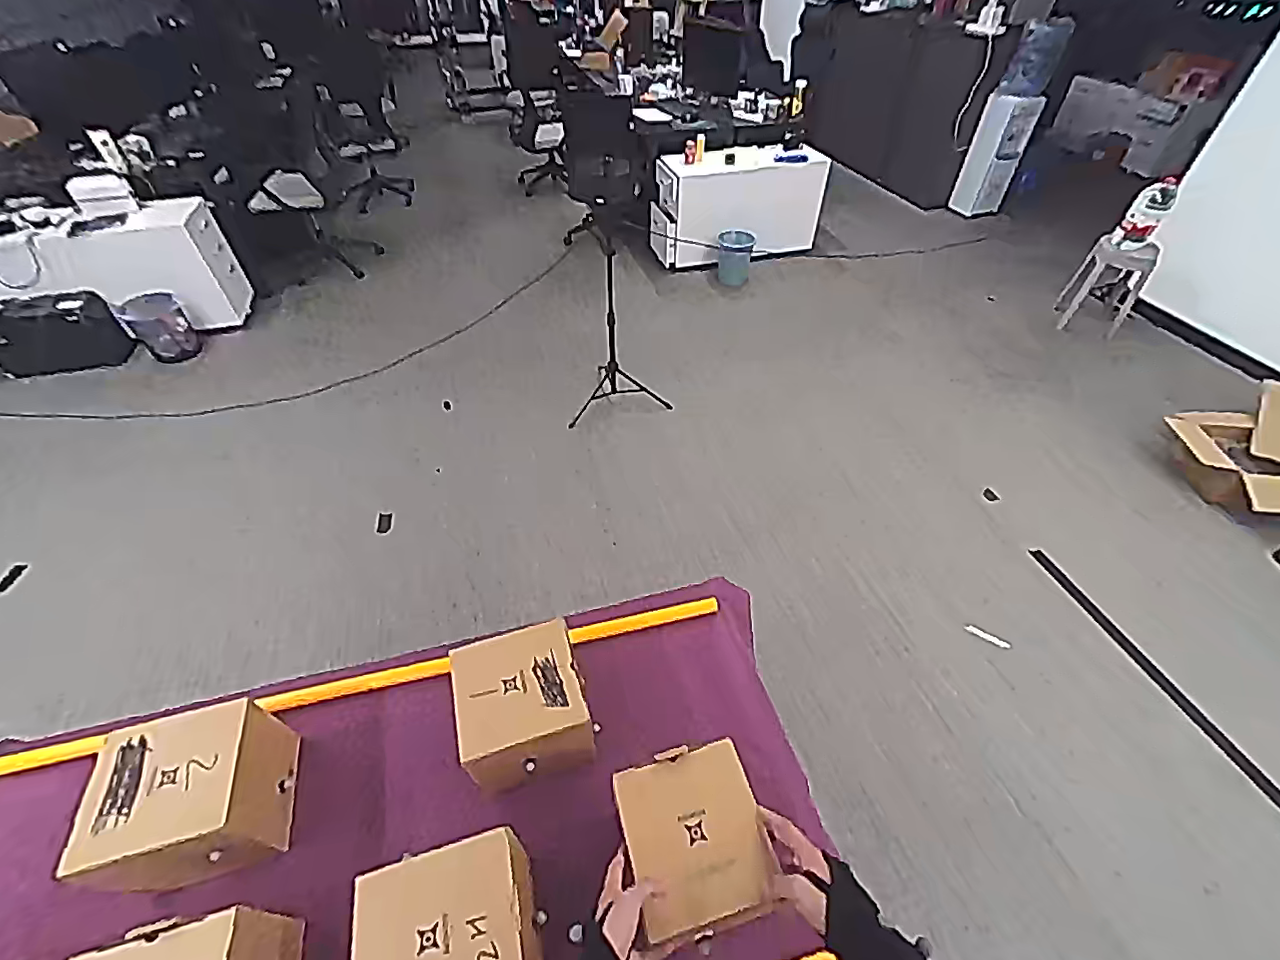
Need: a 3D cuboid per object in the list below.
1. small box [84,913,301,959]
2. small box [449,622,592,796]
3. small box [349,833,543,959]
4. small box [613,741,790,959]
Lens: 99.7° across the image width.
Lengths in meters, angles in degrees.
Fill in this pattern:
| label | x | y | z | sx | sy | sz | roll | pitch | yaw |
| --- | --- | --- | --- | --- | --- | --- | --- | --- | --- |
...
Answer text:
| label | x | y | z | sx | sy | sz | roll | pitch | yaw |
| --- | --- | --- | --- | --- | --- | --- | --- | --- | --- |
| small box | -0.491 | 0.604 | 0.575 | 0.168 | 0.176 | 0.179 | -12 | 46 | -10 |
| small box | -0.174 | 0.348 | 0.820 | 0.179 | 0.176 | 0.168 | -14 | 48 | -12 |
| small box | -0.214 | 0.547 | 0.625 | 0.179 | 0.176 | 0.168 | -13 | 46 | -11 |
| small box | 0.067 | 0.473 | 0.692 | 0.168 | 0.176 | 0.179 | -13 | 45 | -10 |
